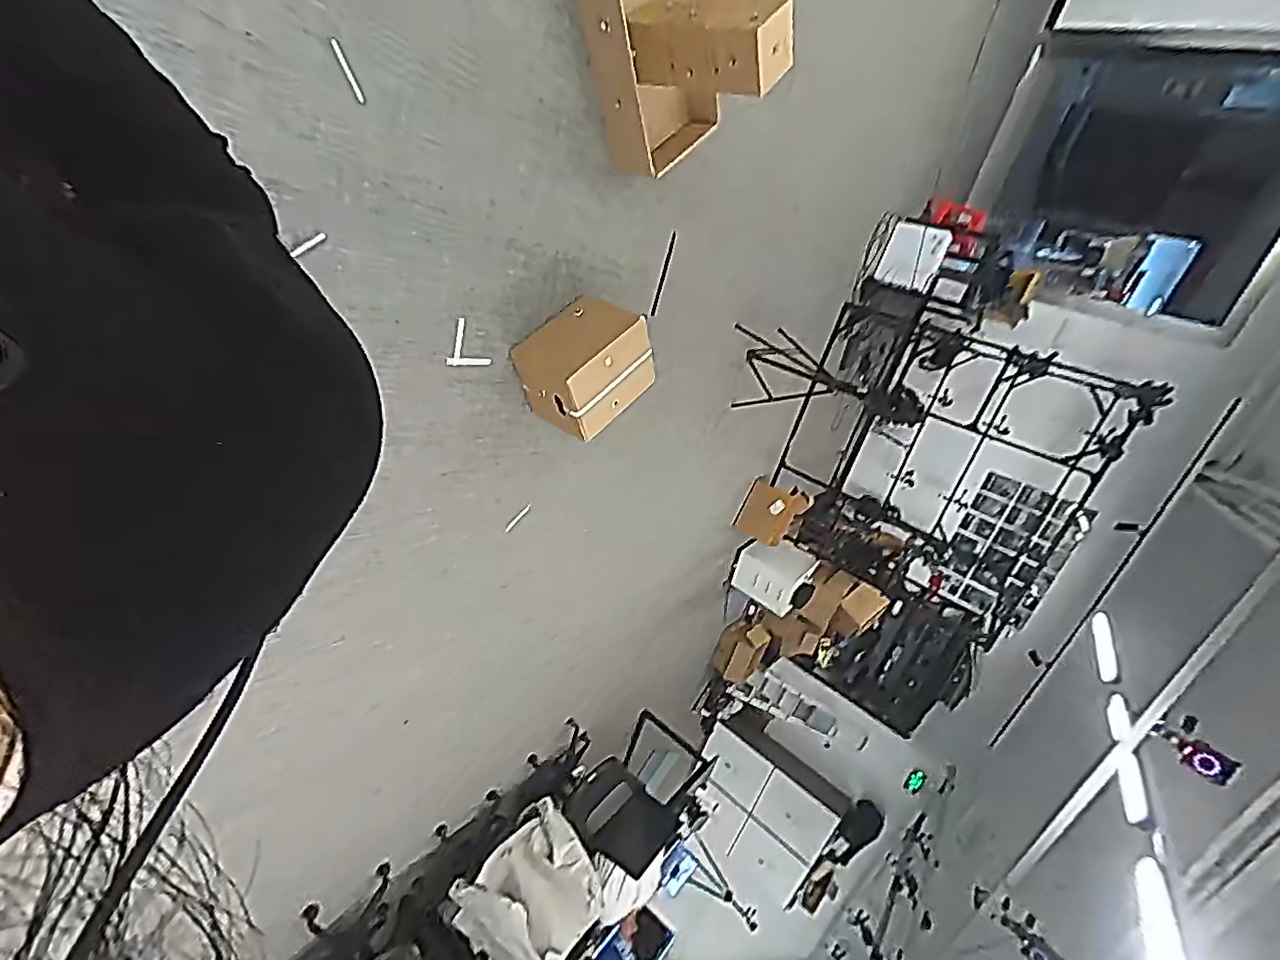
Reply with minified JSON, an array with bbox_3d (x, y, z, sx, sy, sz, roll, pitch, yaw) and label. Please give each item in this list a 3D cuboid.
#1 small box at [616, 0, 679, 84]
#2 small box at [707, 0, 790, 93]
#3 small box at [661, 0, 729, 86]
[{"bbox_3d":[0.053,-1.372,1.683,0.179,0.176,0.168,-48,149,-19],"label":"small box"},{"bbox_3d":[0.302,-1.231,1.523,0.179,0.176,0.168,-51,151,-15],"label":"small box"},{"bbox_3d":[0.176,-1.307,1.600,0.179,0.176,0.168,-52,151,-16],"label":"small box"}]
